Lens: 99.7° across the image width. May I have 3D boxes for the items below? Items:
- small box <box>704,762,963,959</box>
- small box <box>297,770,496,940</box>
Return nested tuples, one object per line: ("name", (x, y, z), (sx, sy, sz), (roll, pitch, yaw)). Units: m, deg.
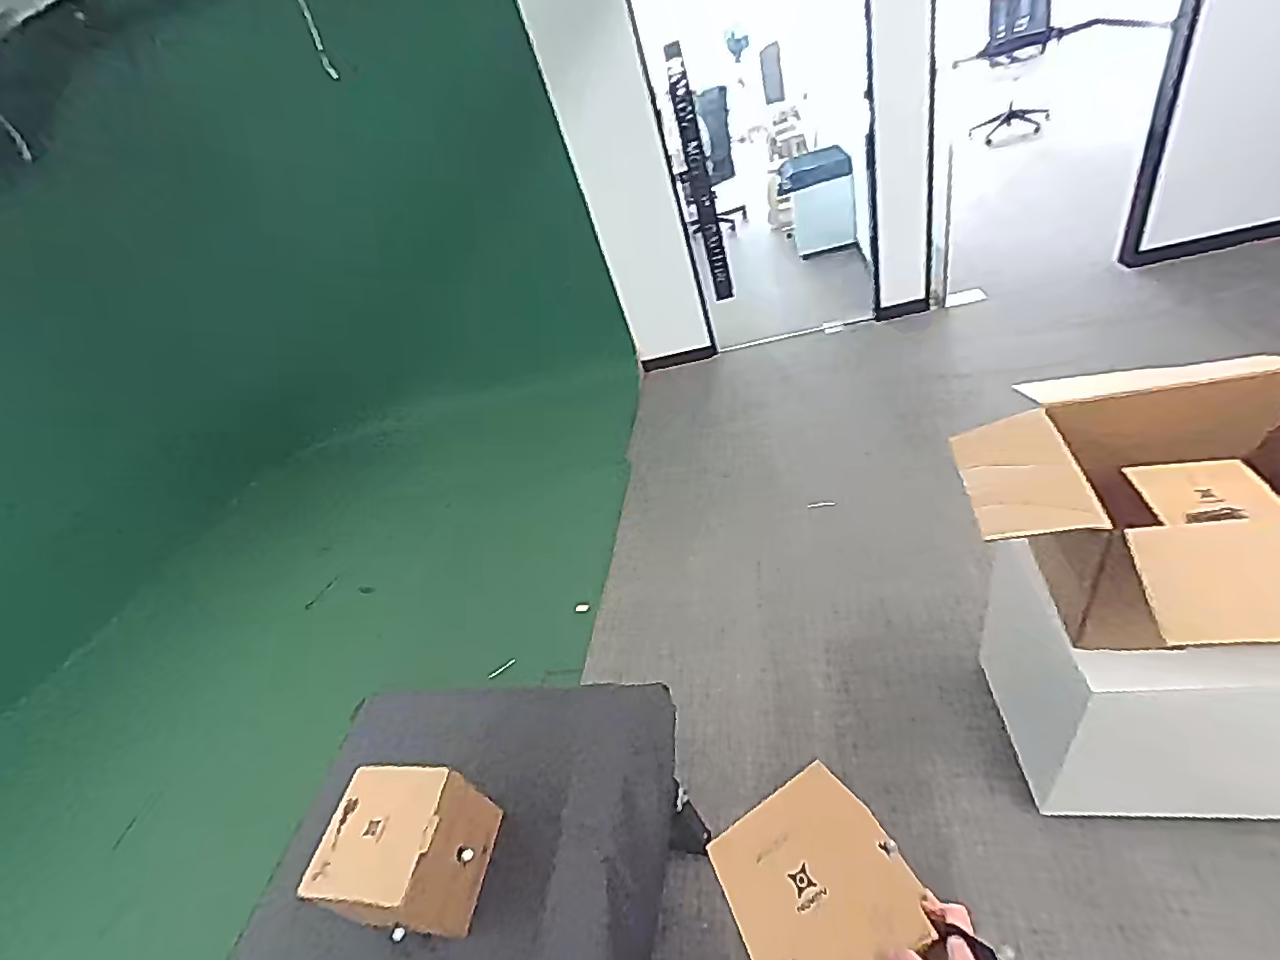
("small box", (0.204, 0.453, 0.579), (0.168, 0.176, 0.179), (-39, 31, 2))
("small box", (-0.341, 0.553, 0.800), (0.179, 0.176, 0.168), (-7, 39, 17))
